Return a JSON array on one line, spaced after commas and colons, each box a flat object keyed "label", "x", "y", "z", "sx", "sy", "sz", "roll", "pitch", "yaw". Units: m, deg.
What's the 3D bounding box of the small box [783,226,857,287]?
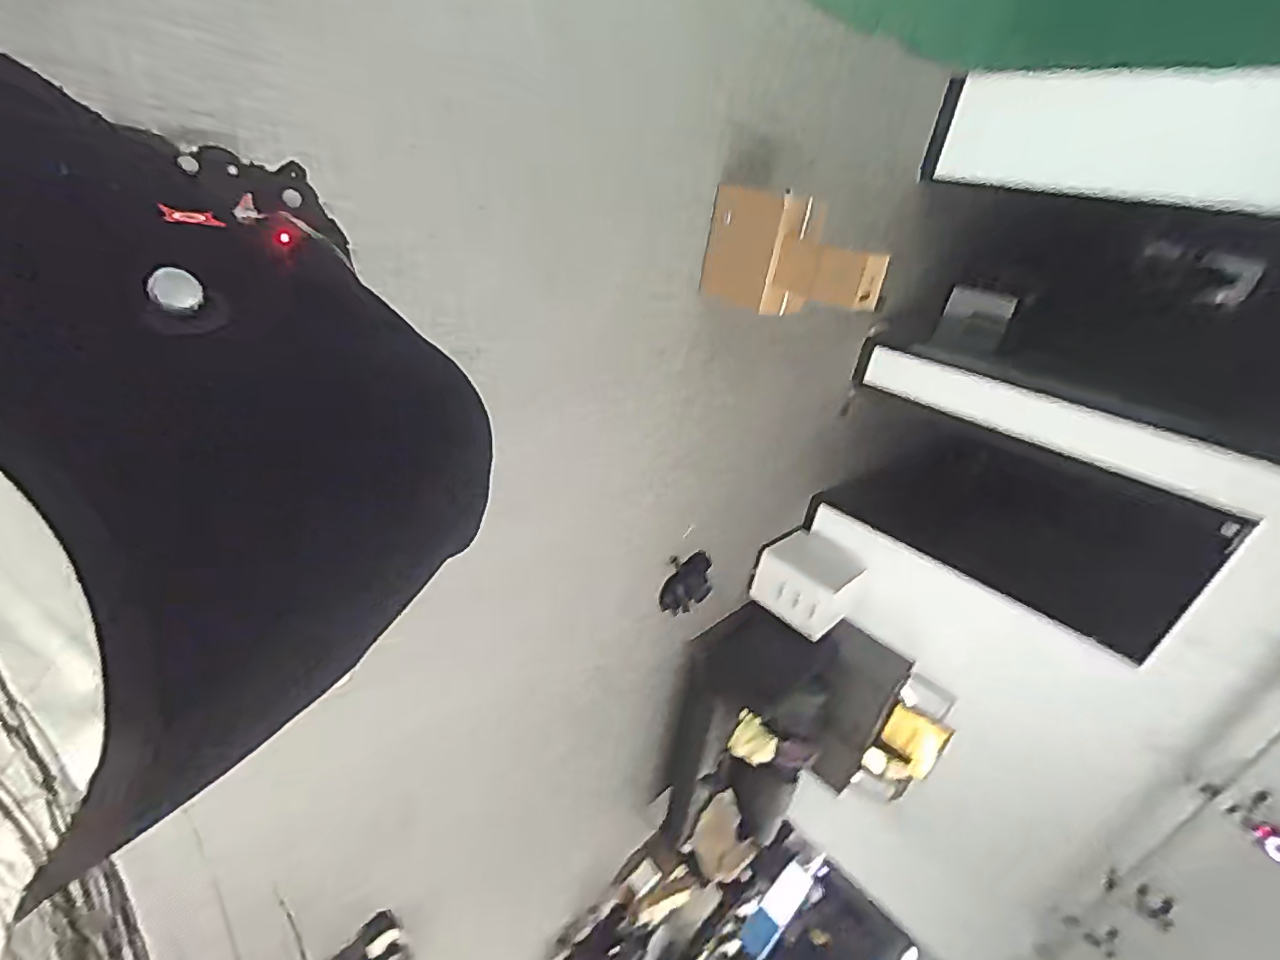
[{"label": "small box", "x": 0.634, "y": -0.798, "z": 1.924, "sx": 0.168, "sy": 0.176, "sz": 0.179, "roll": -19, "pitch": 130, "yaw": -38}]

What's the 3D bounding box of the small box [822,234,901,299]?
[{"label": "small box", "x": 0.740, "y": -0.722, "z": 1.825, "sx": 0.168, "sy": 0.176, "sz": 0.179, "roll": -18, "pitch": 127, "yaw": -39}]
